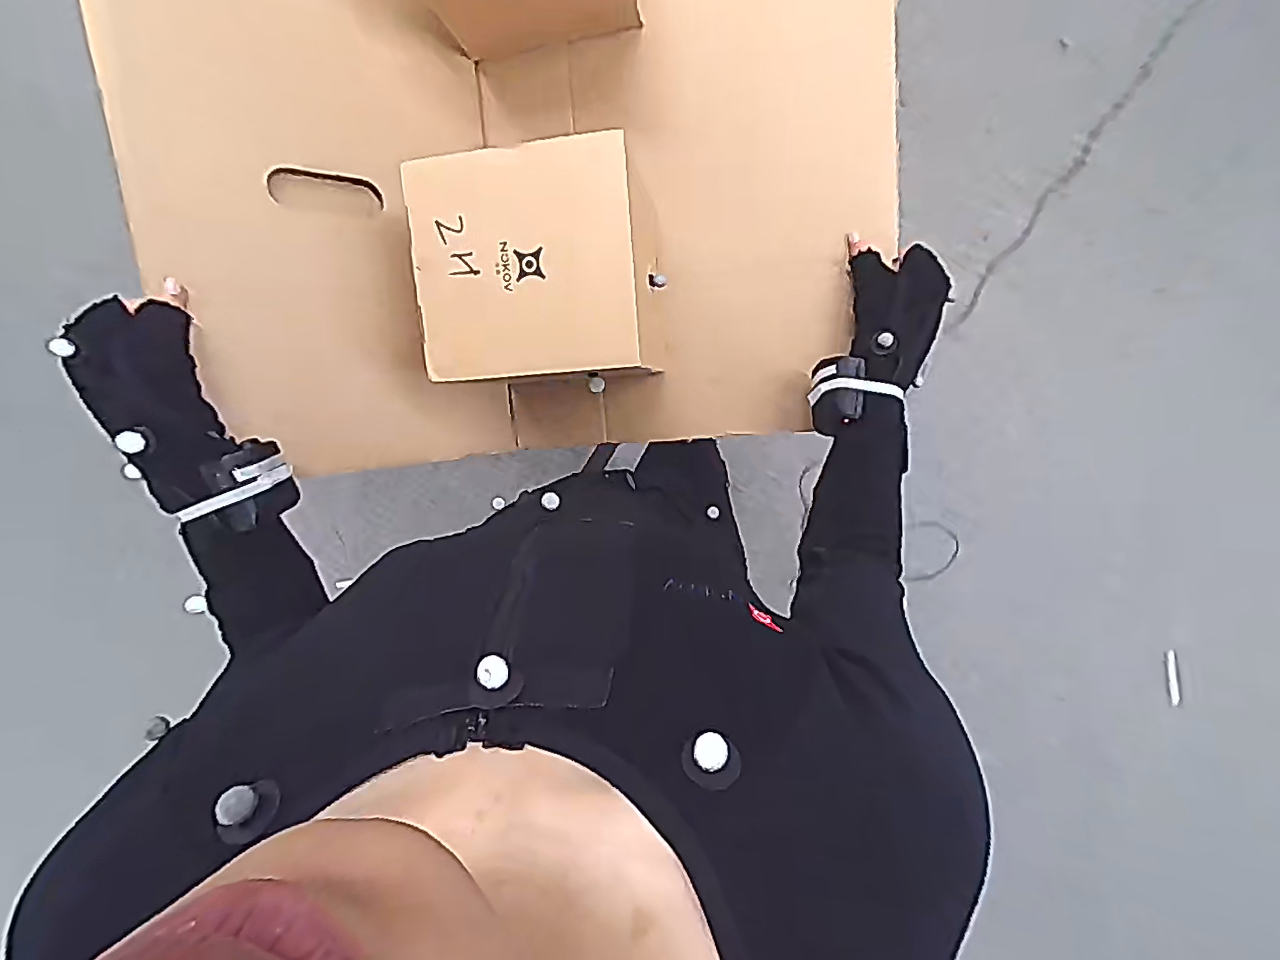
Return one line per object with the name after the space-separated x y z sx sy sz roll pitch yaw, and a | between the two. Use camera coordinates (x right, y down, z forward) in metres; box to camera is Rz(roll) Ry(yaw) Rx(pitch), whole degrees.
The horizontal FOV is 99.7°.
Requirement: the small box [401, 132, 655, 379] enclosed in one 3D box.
-0.082 -0.182 0.495 0.179 0.176 0.168 -3 99 10 | small box

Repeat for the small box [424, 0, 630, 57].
-0.115 -0.496 0.446 0.179 0.176 0.168 -5 99 9 | small box
